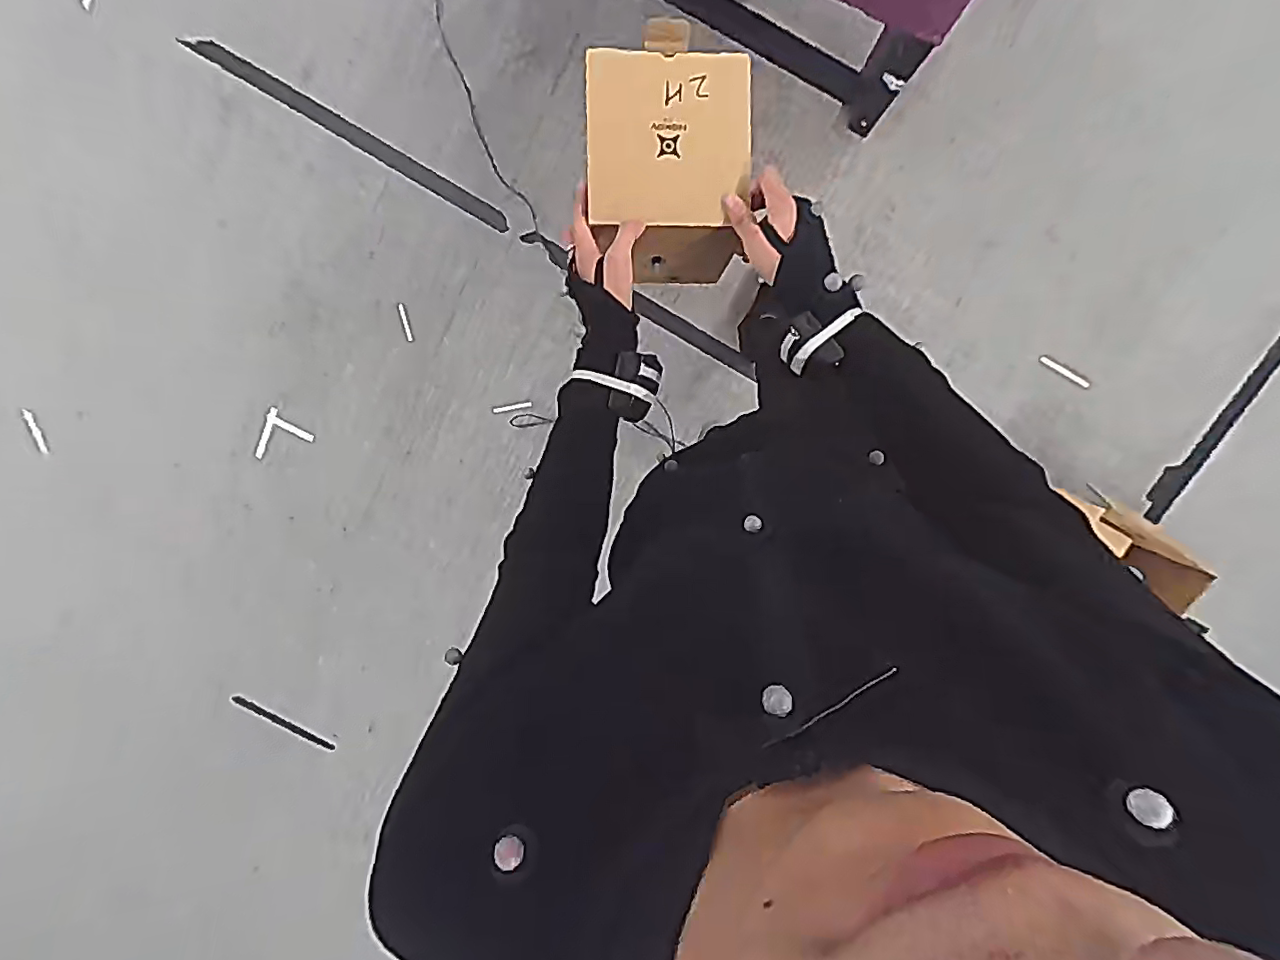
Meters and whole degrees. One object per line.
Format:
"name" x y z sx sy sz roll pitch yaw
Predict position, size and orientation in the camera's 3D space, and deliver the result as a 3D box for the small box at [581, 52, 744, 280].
"small box" 0.020 -0.343 0.625 0.168 0.176 0.179 -1 90 -4
